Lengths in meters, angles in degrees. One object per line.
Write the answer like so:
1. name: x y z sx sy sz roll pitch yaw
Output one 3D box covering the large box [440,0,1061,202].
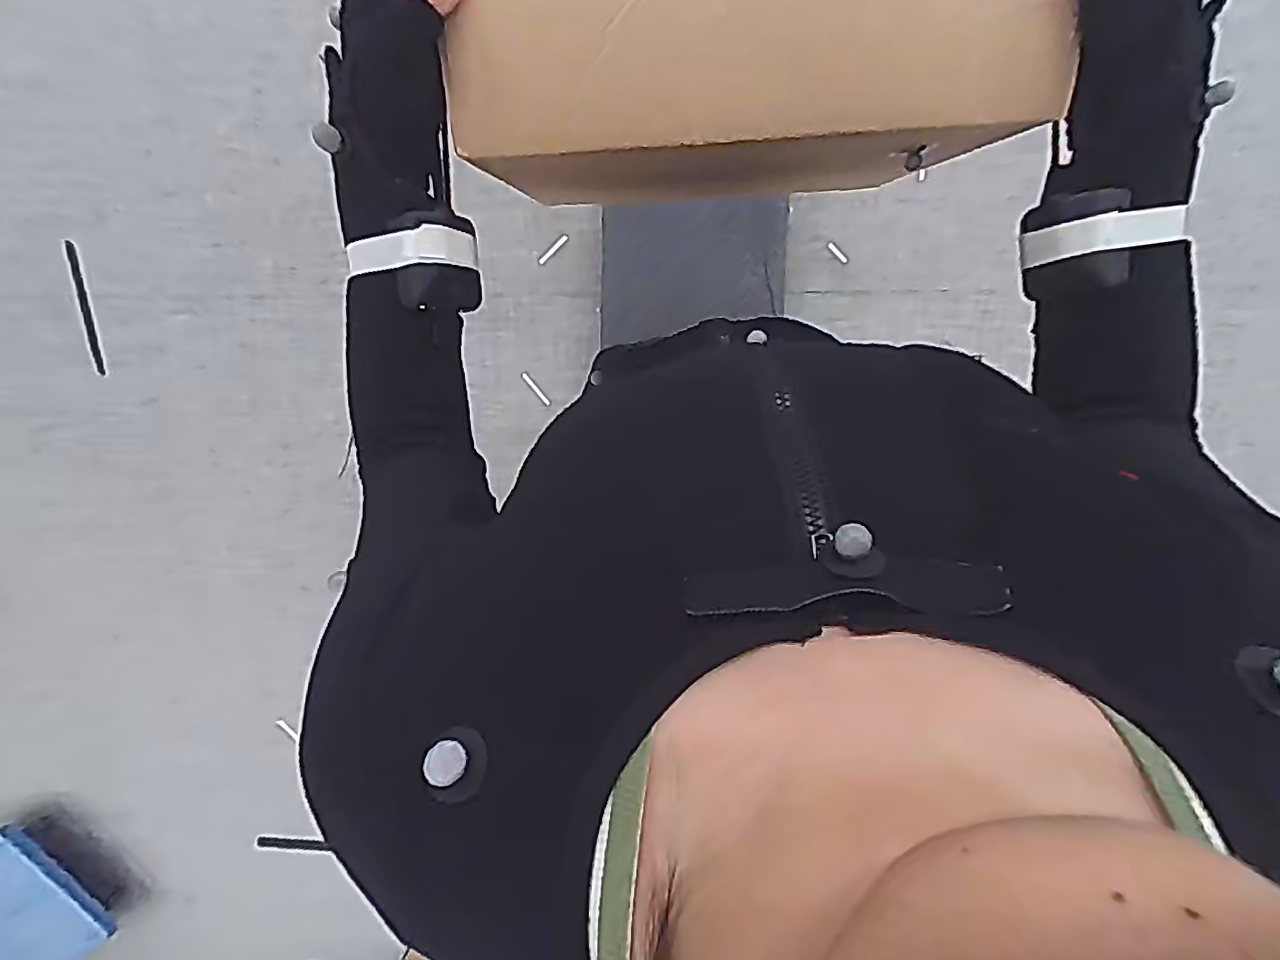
1. large box: 0.068 -0.429 0.455 0.408 0.320 0.320 -3 111 1
